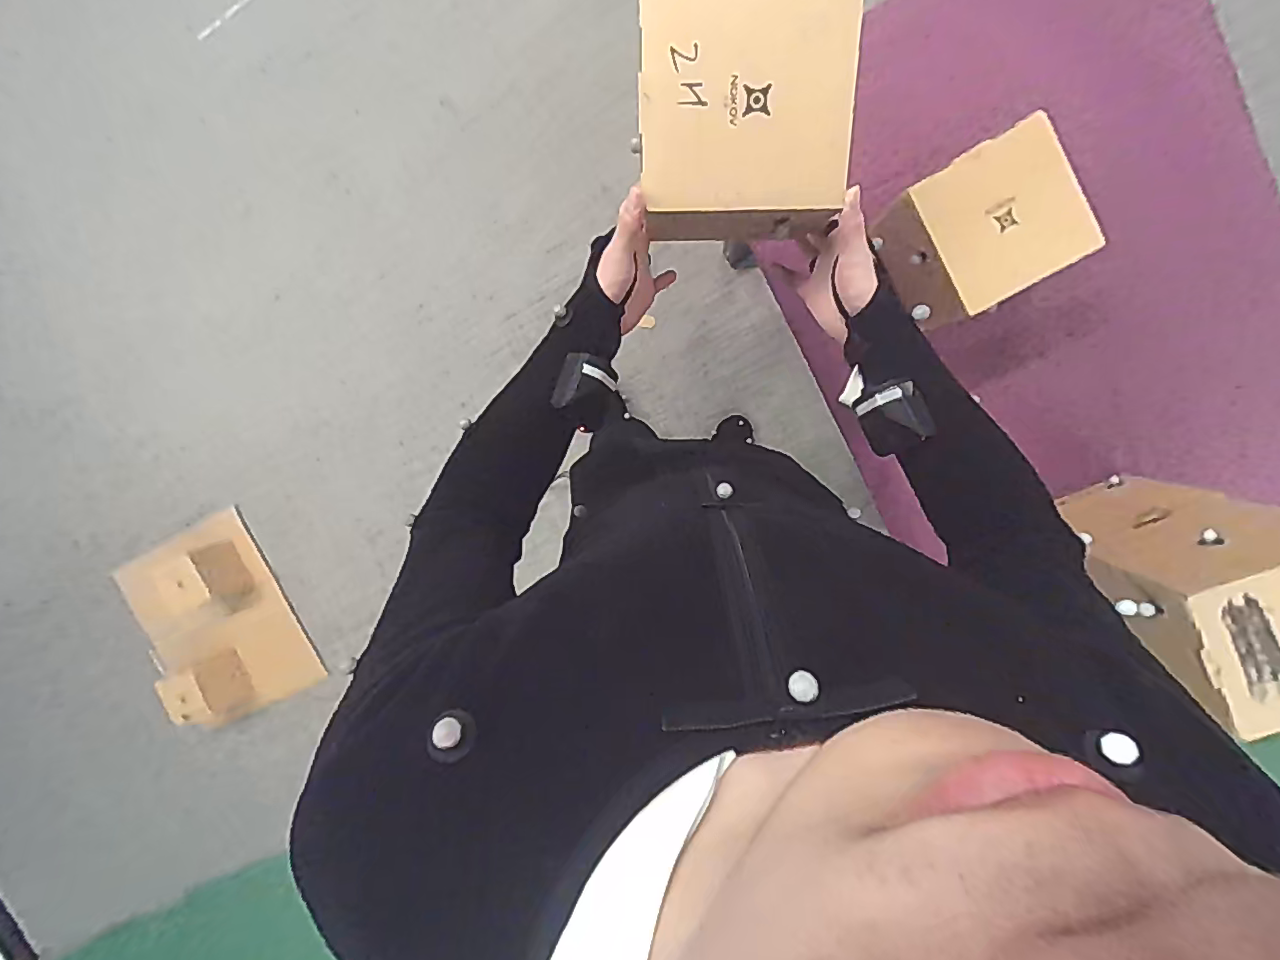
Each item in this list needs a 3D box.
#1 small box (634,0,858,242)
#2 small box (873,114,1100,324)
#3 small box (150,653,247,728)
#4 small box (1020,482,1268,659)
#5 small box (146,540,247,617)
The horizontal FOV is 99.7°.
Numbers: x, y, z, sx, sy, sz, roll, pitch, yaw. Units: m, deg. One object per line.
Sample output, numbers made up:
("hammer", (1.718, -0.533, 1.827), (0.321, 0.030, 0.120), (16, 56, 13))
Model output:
("small box", (0.085, -0.329, 0.516), (0.179, 0.176, 0.168), (0, 105, 3))
("small box", (0.443, -0.325, 0.723), (0.168, 0.176, 0.179), (-28, 93, 12))
("small box", (-1.527, 0.722, 1.881), (0.168, 0.176, 0.179), (-17, 96, 10))
("small box", (0.680, 0.112, 0.755), (0.168, 0.176, 0.179), (-24, 95, 11))
("small box", (-1.480, 0.325, 1.816), (0.168, 0.176, 0.179), (-24, 95, 10))
